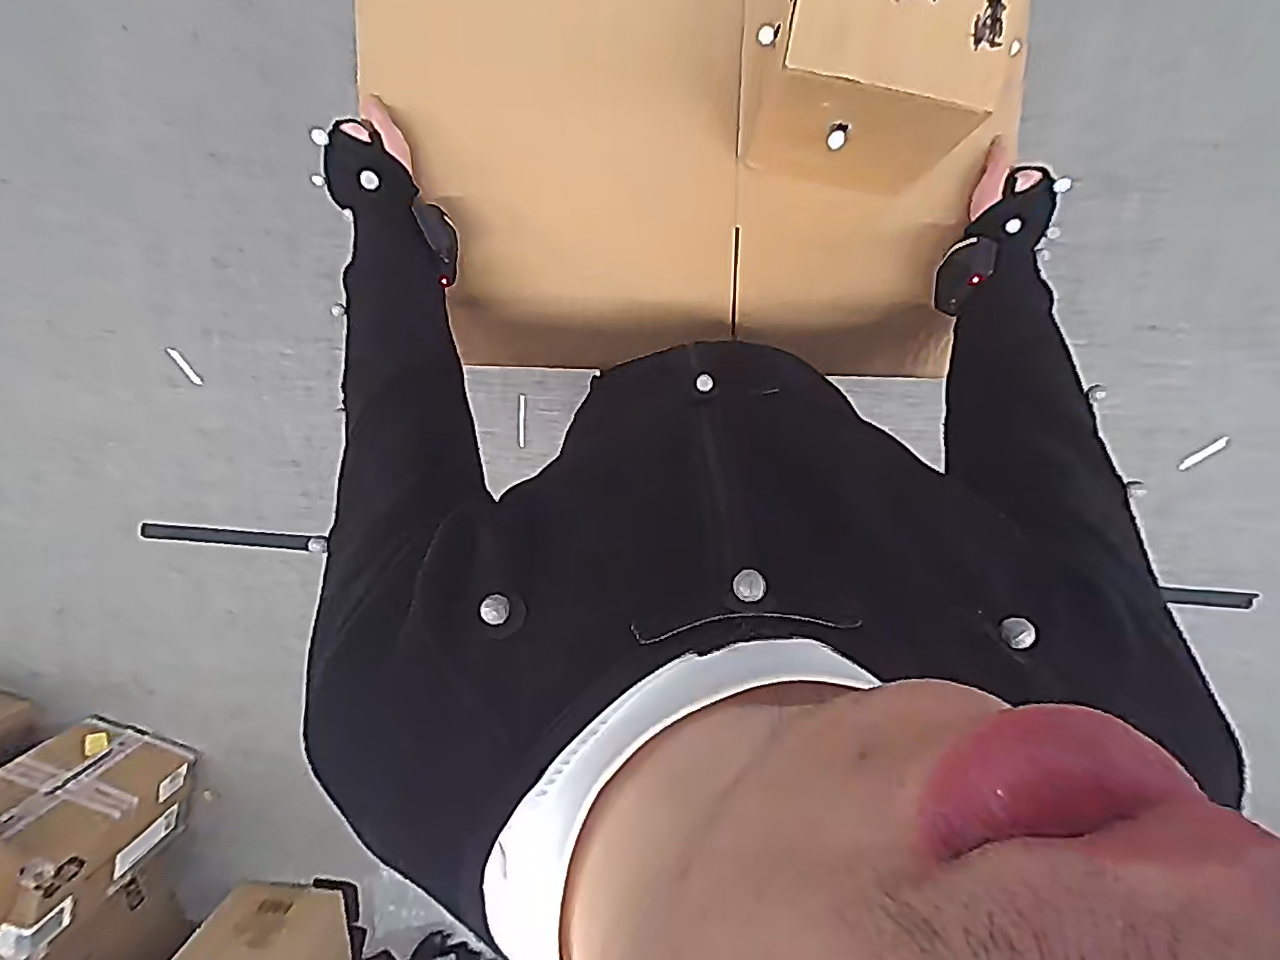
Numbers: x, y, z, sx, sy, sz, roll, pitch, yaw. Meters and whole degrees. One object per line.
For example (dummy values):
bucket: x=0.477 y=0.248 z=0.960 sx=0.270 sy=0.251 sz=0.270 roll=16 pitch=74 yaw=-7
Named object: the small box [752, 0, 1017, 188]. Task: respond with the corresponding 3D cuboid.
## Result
small box: x=0.214 y=-0.401 z=0.505 sx=0.179 sy=0.176 sz=0.168 roll=11 pitch=97 yaw=0
